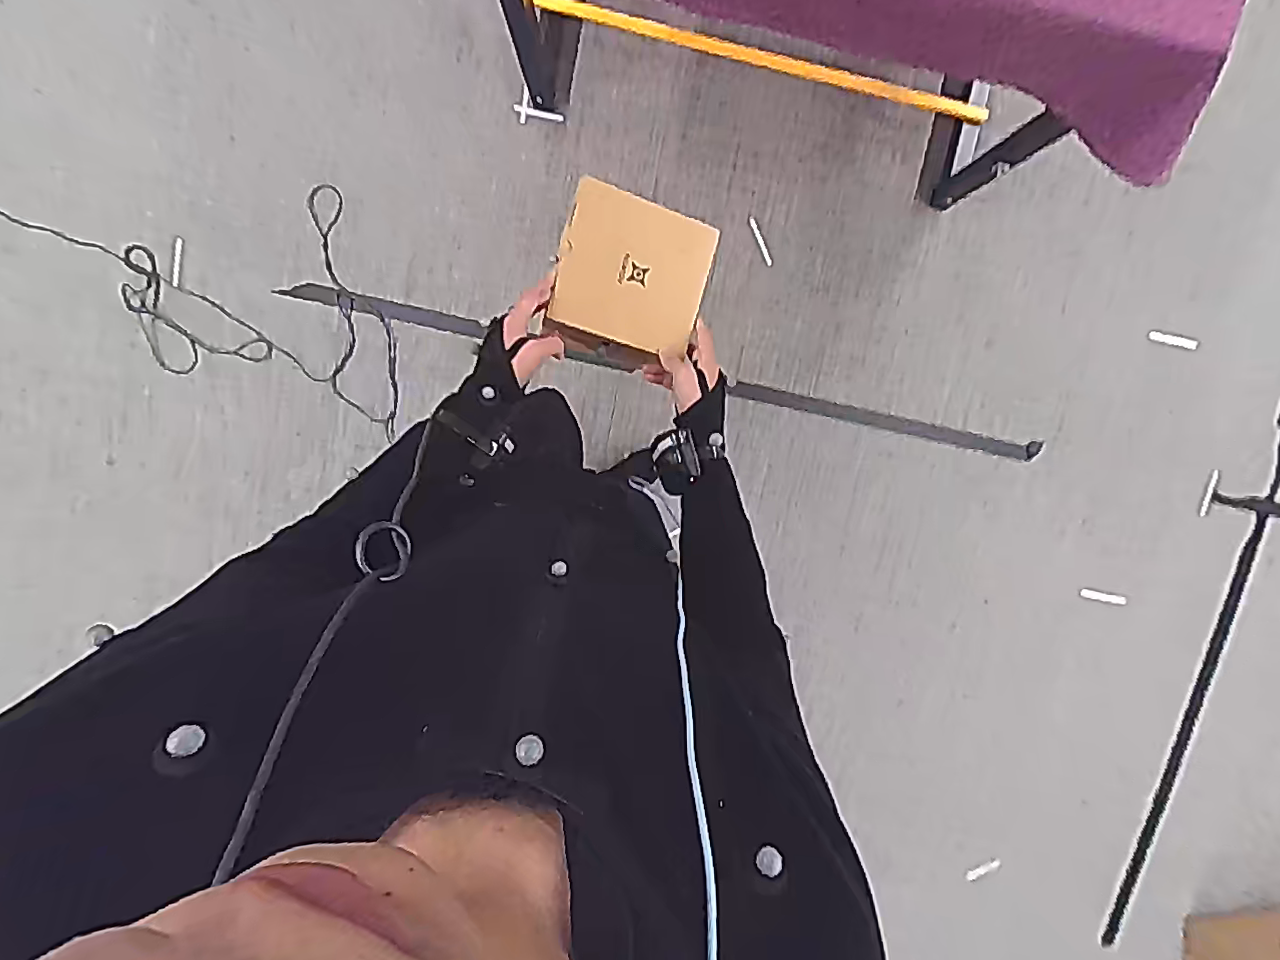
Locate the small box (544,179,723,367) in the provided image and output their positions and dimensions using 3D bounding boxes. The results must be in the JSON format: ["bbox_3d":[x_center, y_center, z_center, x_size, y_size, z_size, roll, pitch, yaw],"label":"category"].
[{"bbox_3d":[-0.019,-0.251,0.709,0.179,0.176,0.168,15,94,-13],"label":"small box"}]
